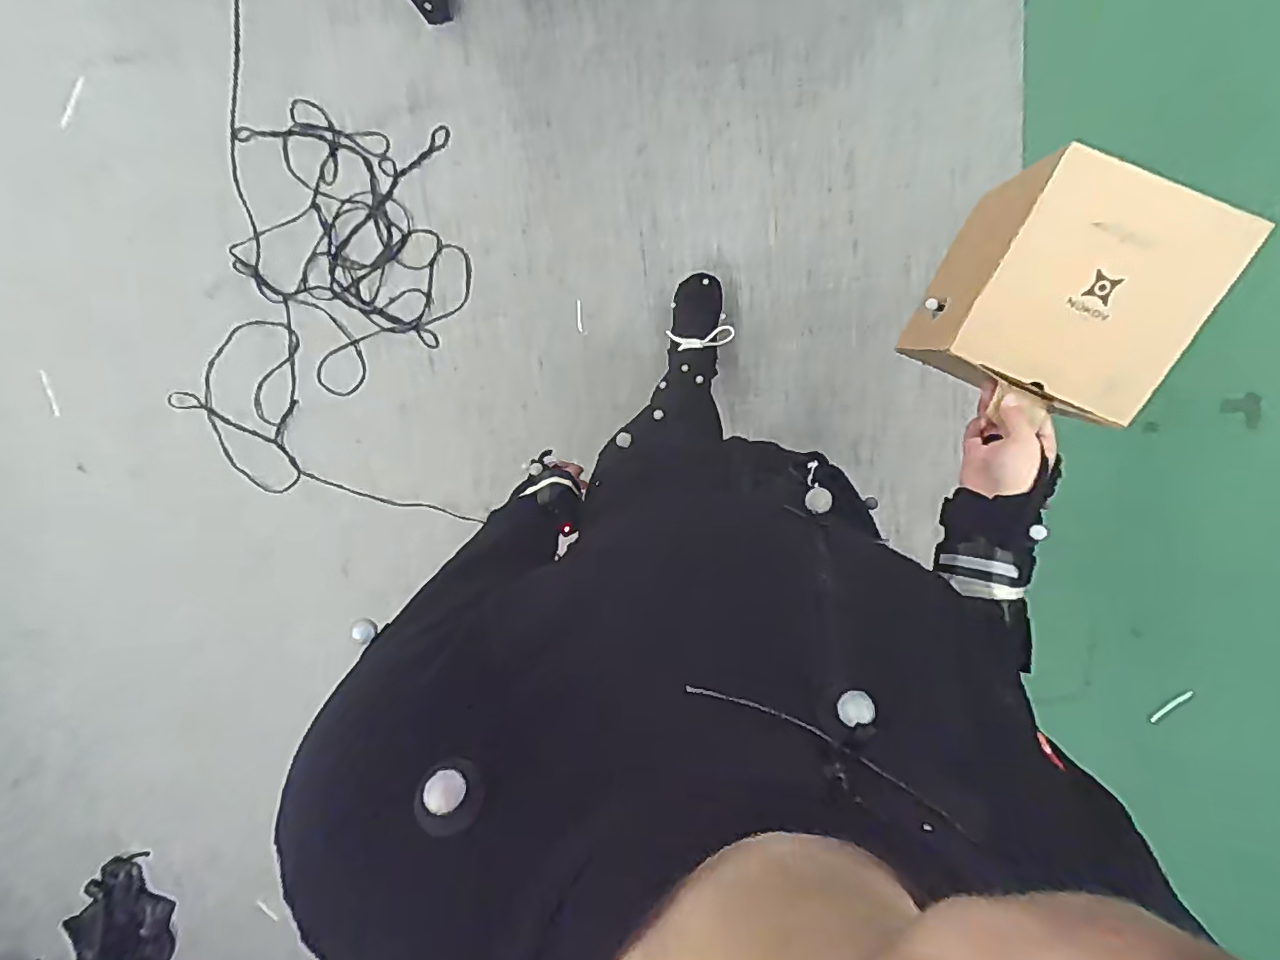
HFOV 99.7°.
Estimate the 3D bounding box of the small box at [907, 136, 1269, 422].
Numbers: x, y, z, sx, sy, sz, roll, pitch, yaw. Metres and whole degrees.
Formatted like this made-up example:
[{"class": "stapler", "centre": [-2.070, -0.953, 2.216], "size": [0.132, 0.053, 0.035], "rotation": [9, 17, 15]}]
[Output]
[{"class": "small box", "centre": [0.383, -0.175, 0.512], "size": [0.168, 0.176, 0.179], "rotation": [24, 106, 2]}]
